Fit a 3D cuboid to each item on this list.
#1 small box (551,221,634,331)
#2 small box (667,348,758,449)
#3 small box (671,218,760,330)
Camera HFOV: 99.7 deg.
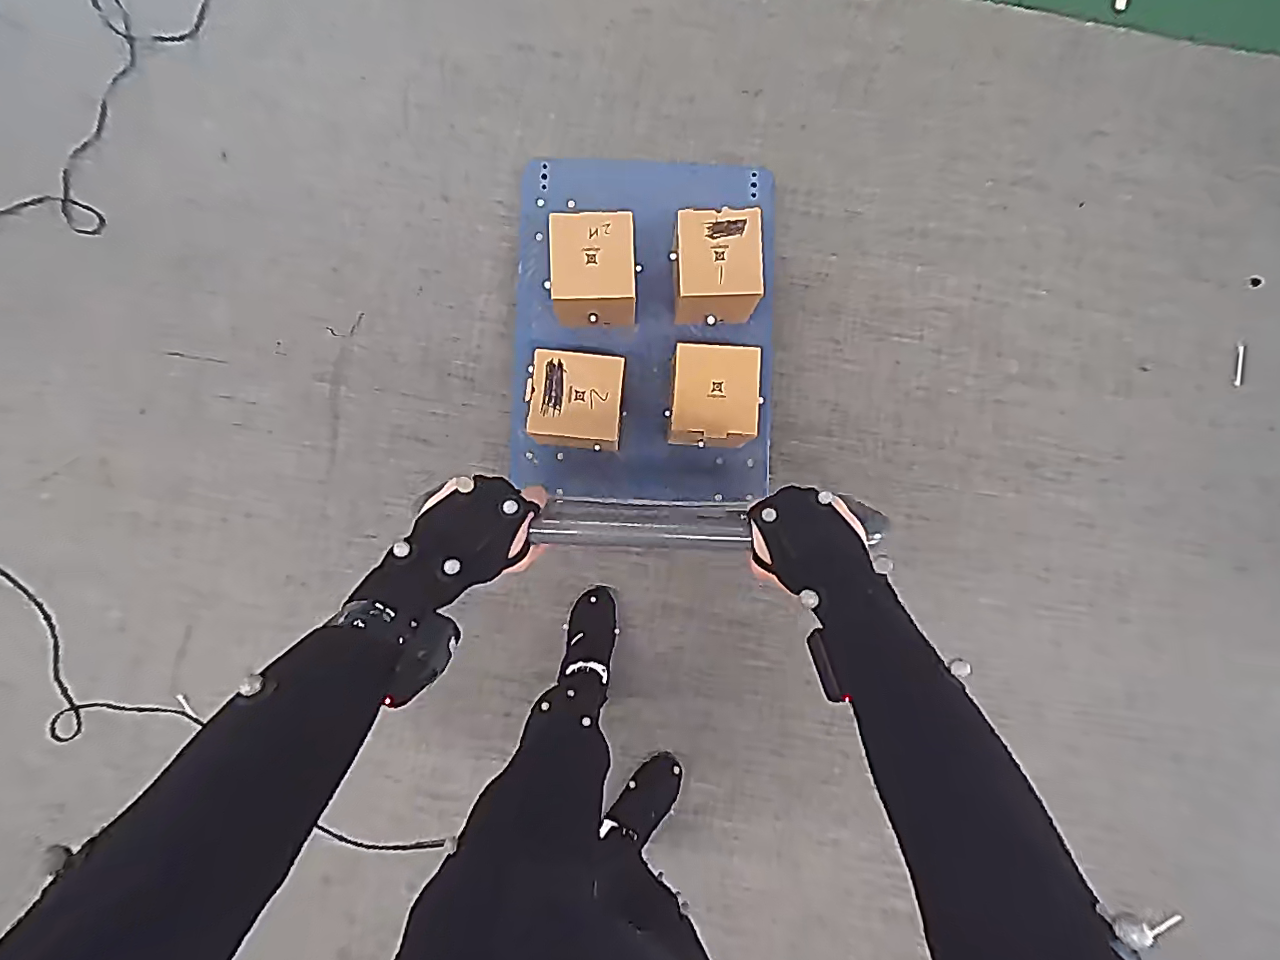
[{"bbox_3d":[-0.096,-0.426,1.157,0.168,0.176,0.179,-2,86,-2],"label":"small box"},{"bbox_3d":[0.147,-0.165,1.145,0.168,0.176,0.179,3,87,-1],"label":"small box"},{"bbox_3d":[0.156,-0.435,1.160,0.168,0.176,0.179,-1,87,0],"label":"small box"}]
